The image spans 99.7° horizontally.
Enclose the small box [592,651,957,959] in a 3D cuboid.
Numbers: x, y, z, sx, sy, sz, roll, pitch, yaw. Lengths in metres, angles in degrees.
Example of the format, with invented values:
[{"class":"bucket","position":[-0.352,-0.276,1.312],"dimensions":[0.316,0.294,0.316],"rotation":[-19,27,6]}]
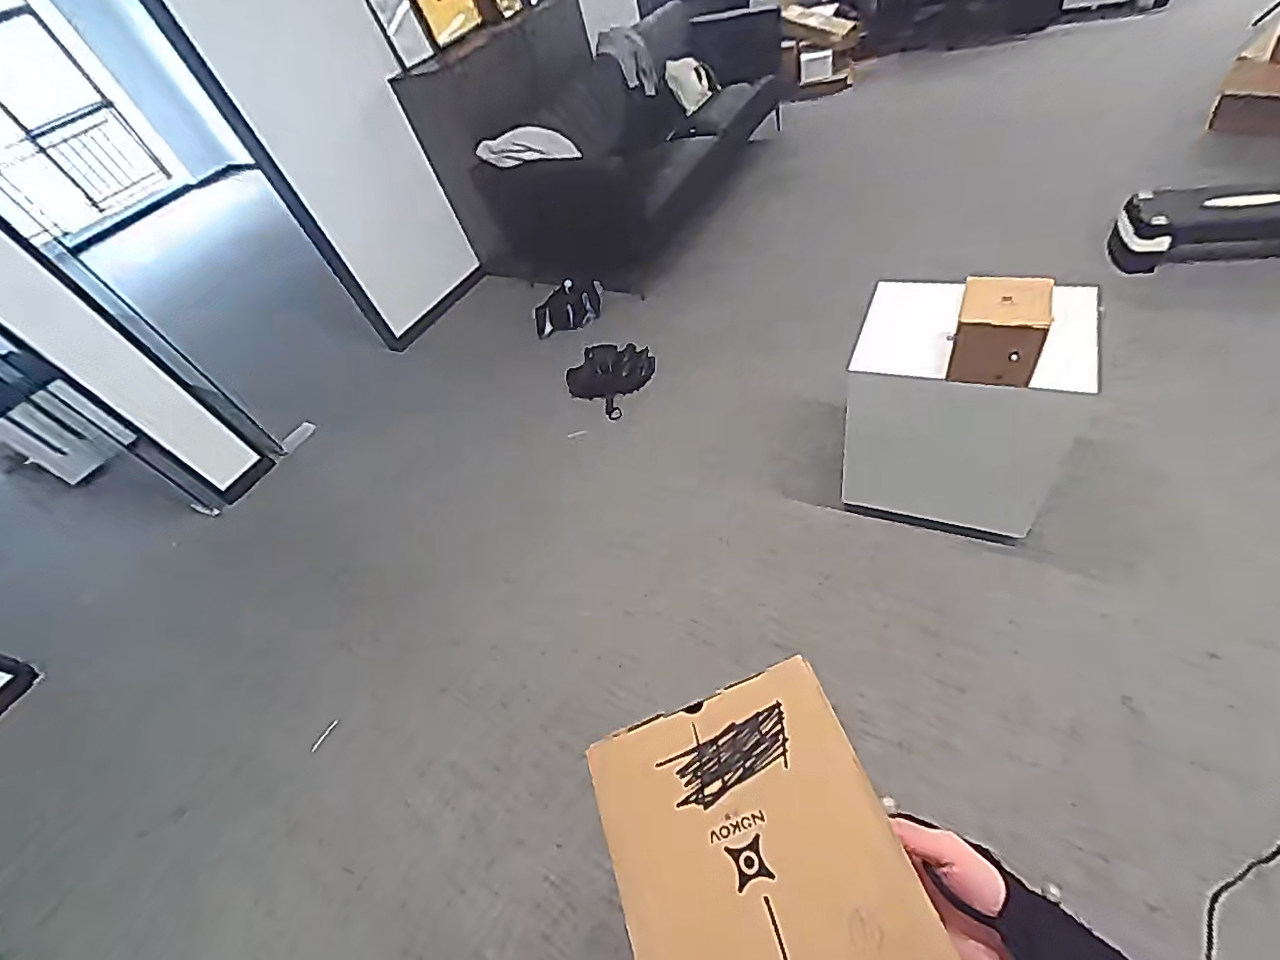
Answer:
[{"class":"small box","position":[0.085,0.256,0.392],"dimensions":[0.168,0.176,0.179],"rotation":[-24,54,3]}]

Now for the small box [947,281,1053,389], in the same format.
[{"class":"small box","position":[0.806,-0.326,1.220],"dimensions":[0.168,0.176,0.179],"rotation":[12,53,25]}]
